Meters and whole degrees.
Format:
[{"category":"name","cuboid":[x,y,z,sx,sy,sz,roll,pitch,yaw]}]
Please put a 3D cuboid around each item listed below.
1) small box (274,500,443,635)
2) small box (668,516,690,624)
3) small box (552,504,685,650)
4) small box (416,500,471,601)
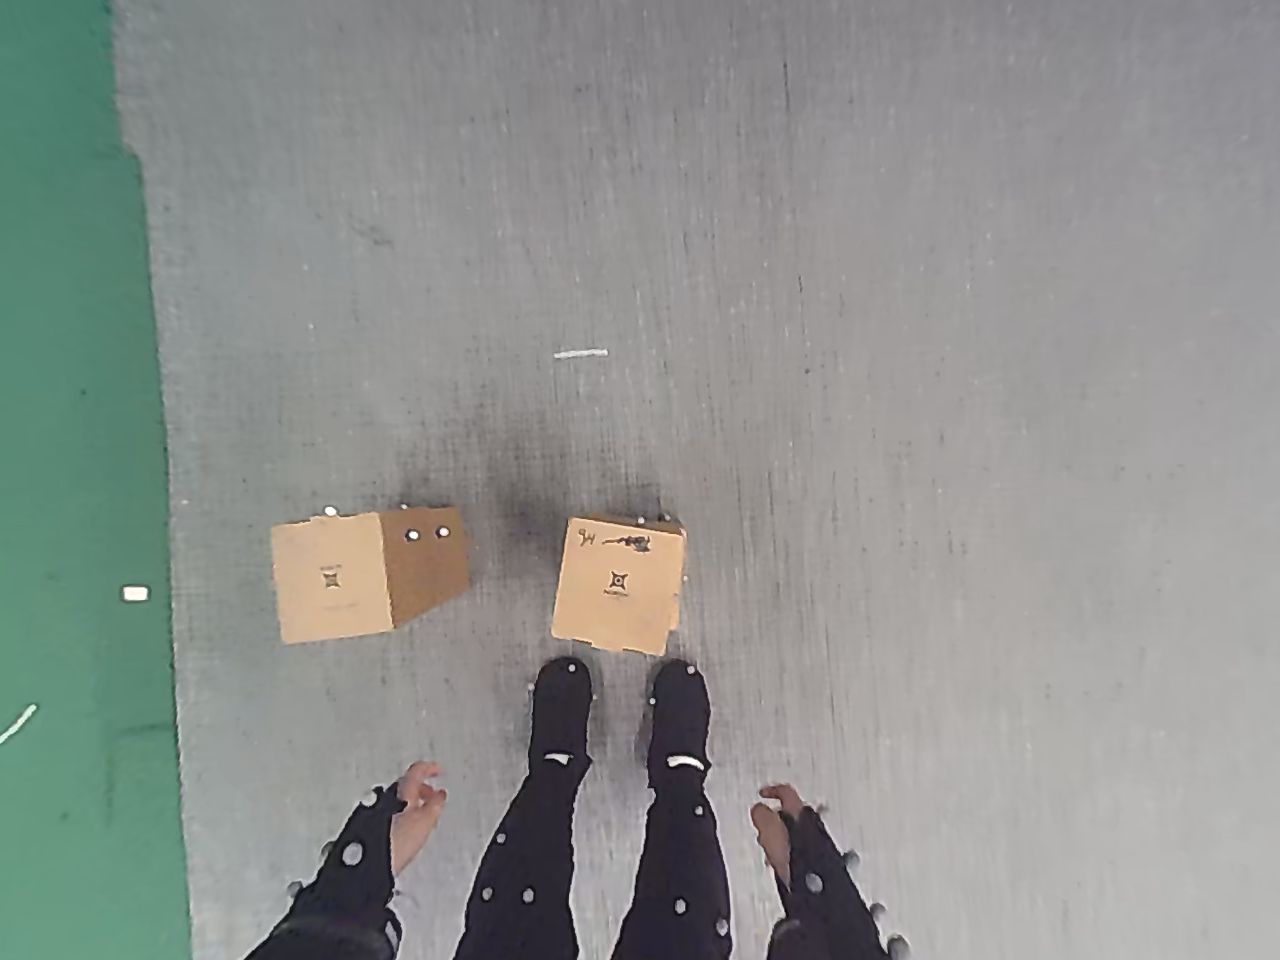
[{"category":"small box","cuboid":[-0.430,0.126,0.849,0.168,0.176,0.179,-8,90,3]},{"category":"small box","cuboid":[-0.003,0.151,0.999,0.168,0.176,0.179,6,90,2]},{"category":"small box","cuboid":[-0.026,0.138,0.836,0.168,0.176,0.179,10,91,2]},{"category":"small box","cuboid":[-0.431,0.134,1.011,0.168,0.176,0.179,-8,89,1]}]
